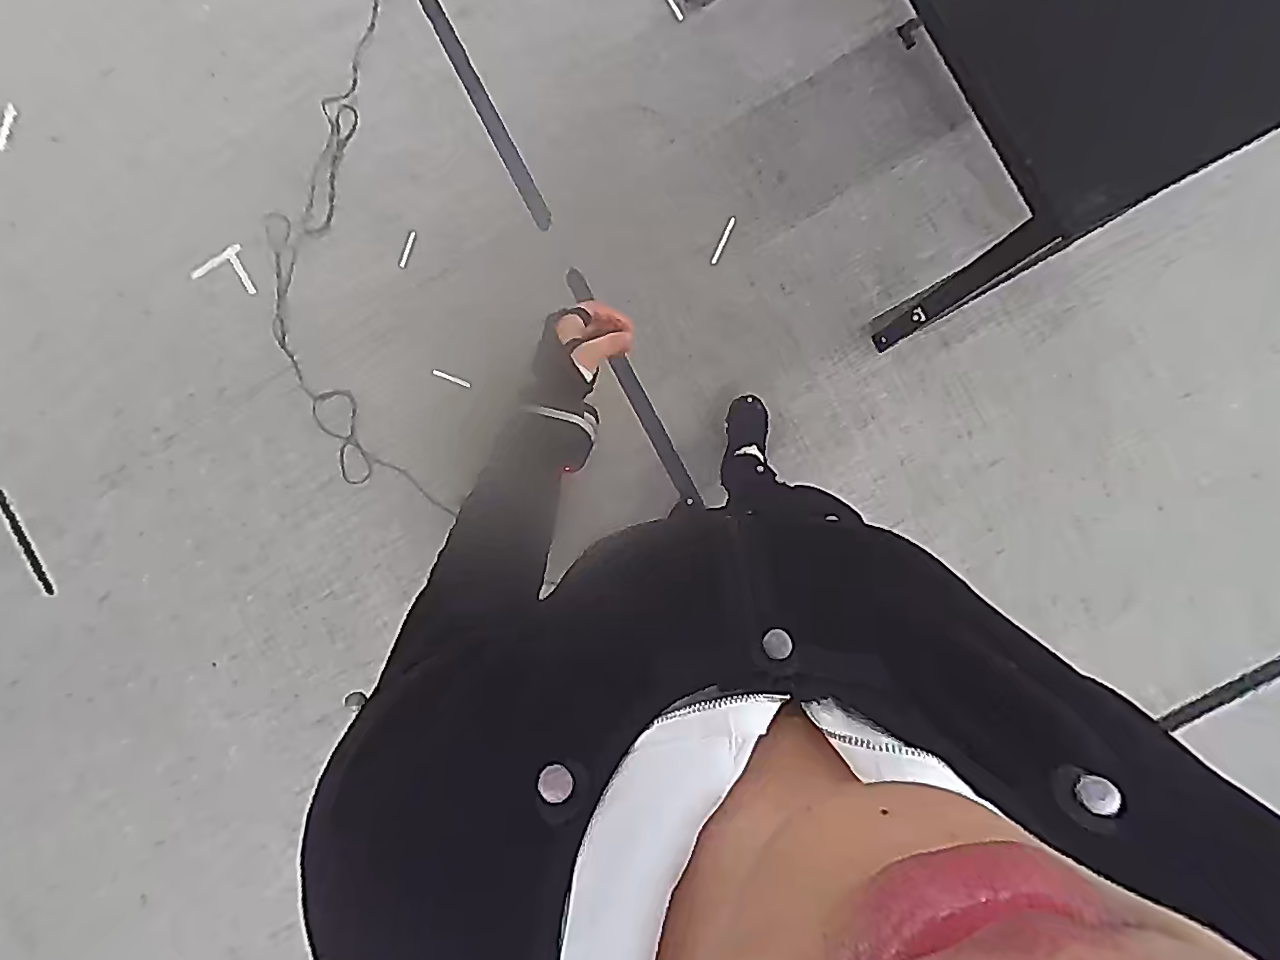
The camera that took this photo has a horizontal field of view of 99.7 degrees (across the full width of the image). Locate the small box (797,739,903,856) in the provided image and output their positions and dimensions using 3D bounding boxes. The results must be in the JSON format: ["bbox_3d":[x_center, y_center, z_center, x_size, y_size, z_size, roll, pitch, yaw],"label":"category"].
[{"bbox_3d":[0.533,0.810,1.399,0.179,0.176,0.168,-28,87,3],"label":"small box"}]
